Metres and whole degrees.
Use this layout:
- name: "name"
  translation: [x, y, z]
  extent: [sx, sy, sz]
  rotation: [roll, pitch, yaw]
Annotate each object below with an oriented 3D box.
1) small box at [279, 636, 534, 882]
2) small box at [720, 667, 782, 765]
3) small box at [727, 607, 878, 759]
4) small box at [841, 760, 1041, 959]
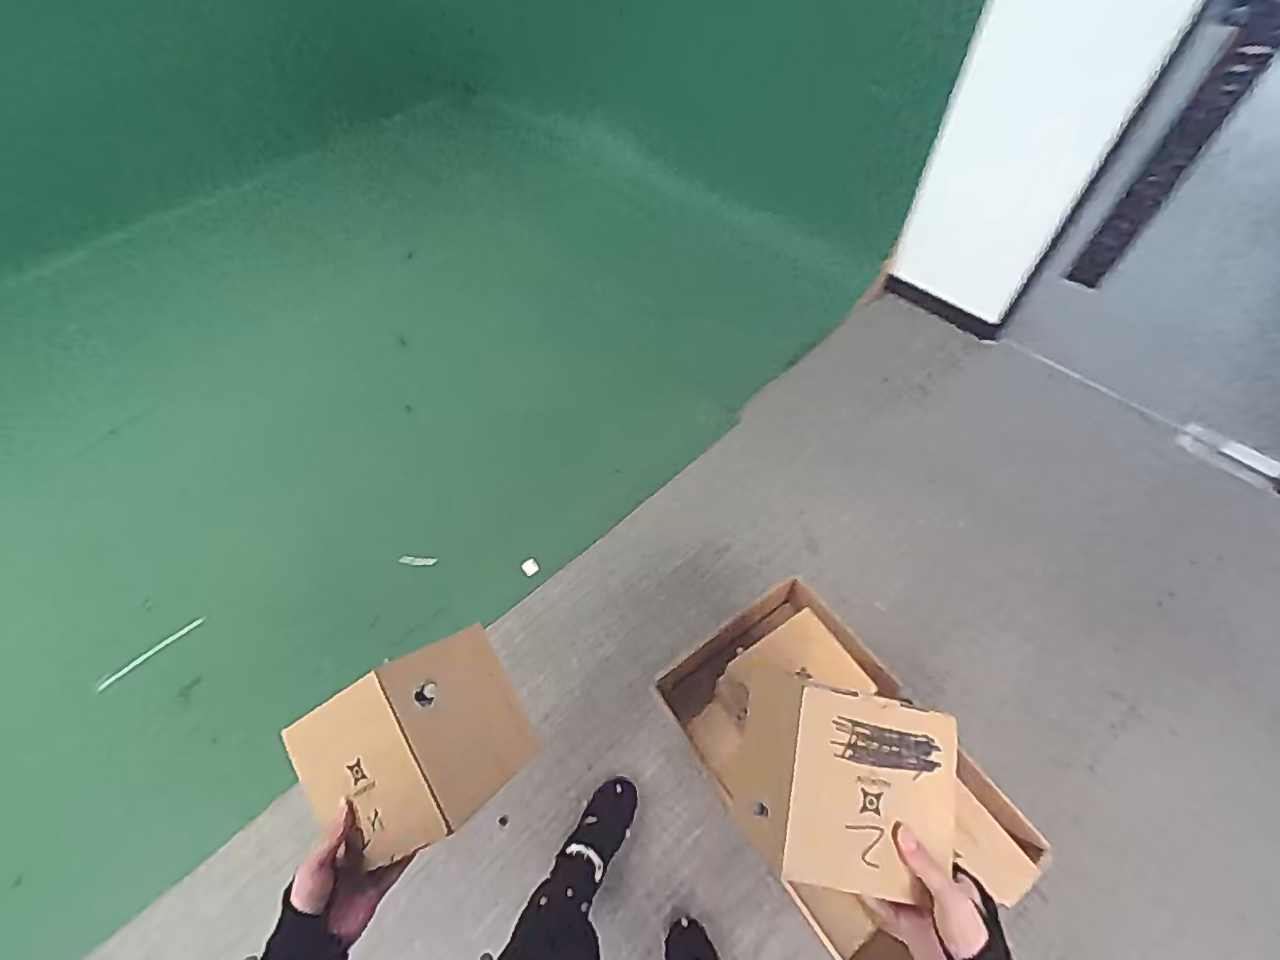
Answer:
- name: "small box"
  translation: [-0.259, 0.301, 0.625]
  extent: [0.168, 0.176, 0.179]
  rotation: [-36, 80, 19]
- name: "small box"
  translation: [0.273, 0.440, 1.077]
  extent: [0.168, 0.176, 0.179]
  rotation: [-29, 61, -13]
- name: "small box"
  translation: [0.267, 0.355, 0.937]
  extent: [0.179, 0.176, 0.168]
  rotation: [-31, 61, -13]
- name: "small box"
  translation: [0.423, 0.549, 0.799]
  extent: [0.179, 0.176, 0.168]
  rotation: [-30, 62, -15]
